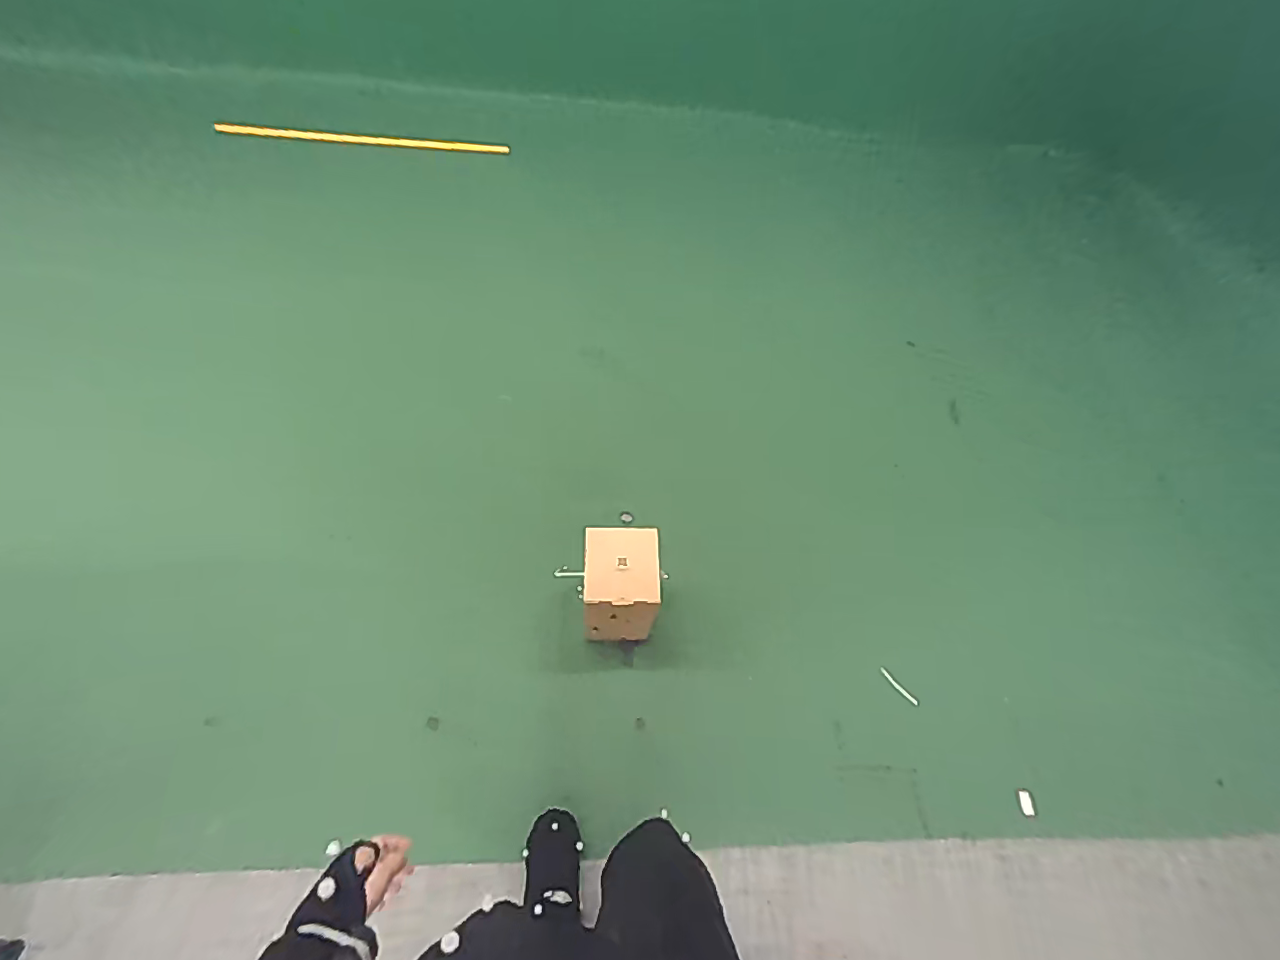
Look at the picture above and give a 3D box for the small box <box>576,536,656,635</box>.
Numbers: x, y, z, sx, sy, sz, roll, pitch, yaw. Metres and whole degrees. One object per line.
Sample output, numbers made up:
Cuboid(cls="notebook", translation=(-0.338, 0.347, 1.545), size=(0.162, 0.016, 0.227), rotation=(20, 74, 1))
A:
Cuboid(cls="small box", translation=(-0.060, 0.246, 1.244), size=(0.168, 0.176, 0.179), rotation=(2, 59, -7))
